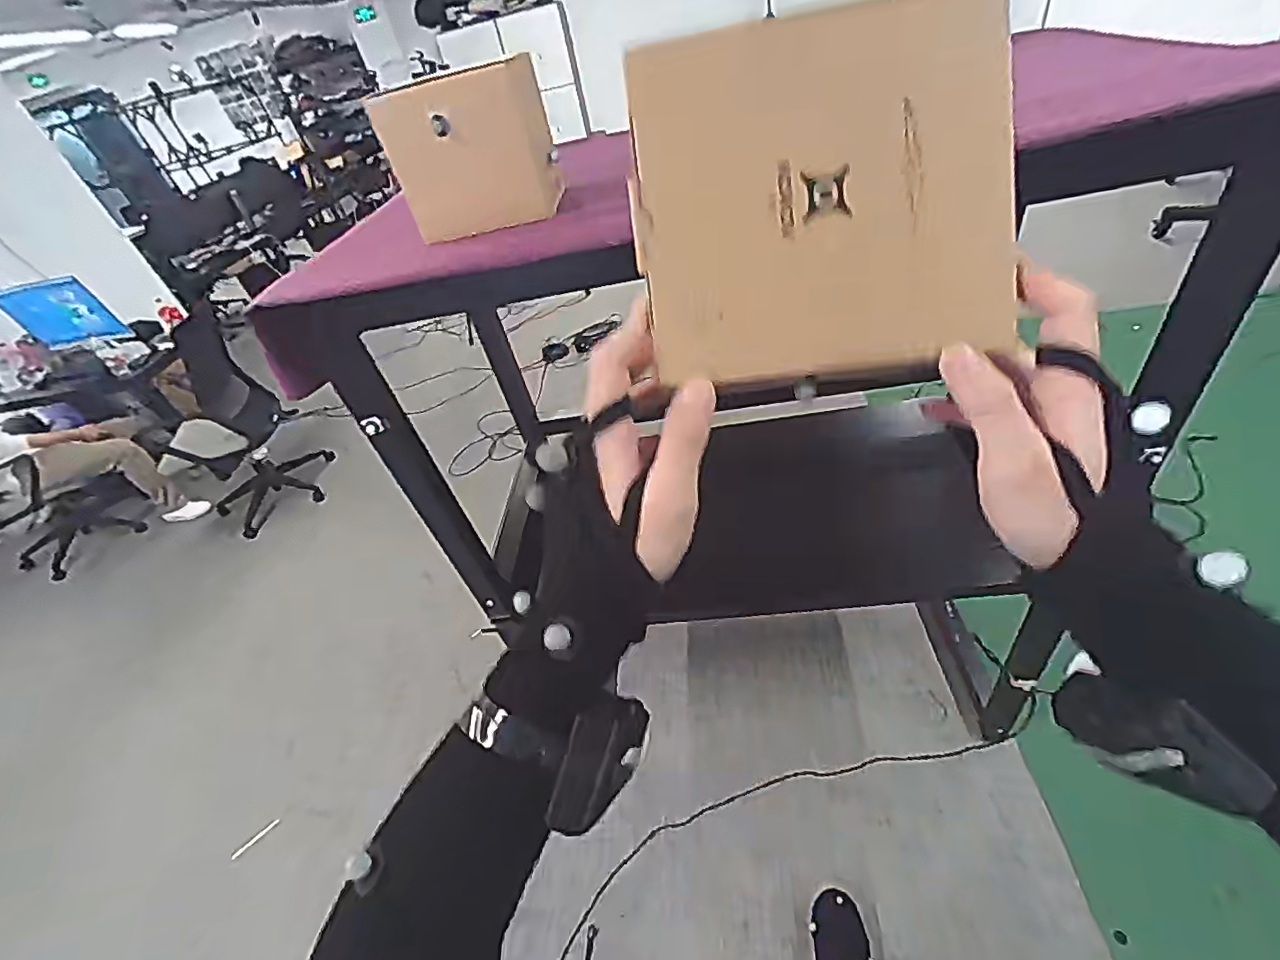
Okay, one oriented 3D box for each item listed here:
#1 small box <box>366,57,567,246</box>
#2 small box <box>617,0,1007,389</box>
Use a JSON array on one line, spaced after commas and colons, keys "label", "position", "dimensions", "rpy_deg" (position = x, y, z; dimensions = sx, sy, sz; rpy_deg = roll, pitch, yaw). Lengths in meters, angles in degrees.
[{"label": "small box", "position": [-0.212, -0.428, 0.713], "dimensions": [0.179, 0.176, 0.168], "rpy_deg": [-9, 42, 9]}, {"label": "small box", "position": [0.092, -0.149, 0.339], "dimensions": [0.179, 0.168, 0.176], "rpy_deg": [-5, 7, 8]}]
